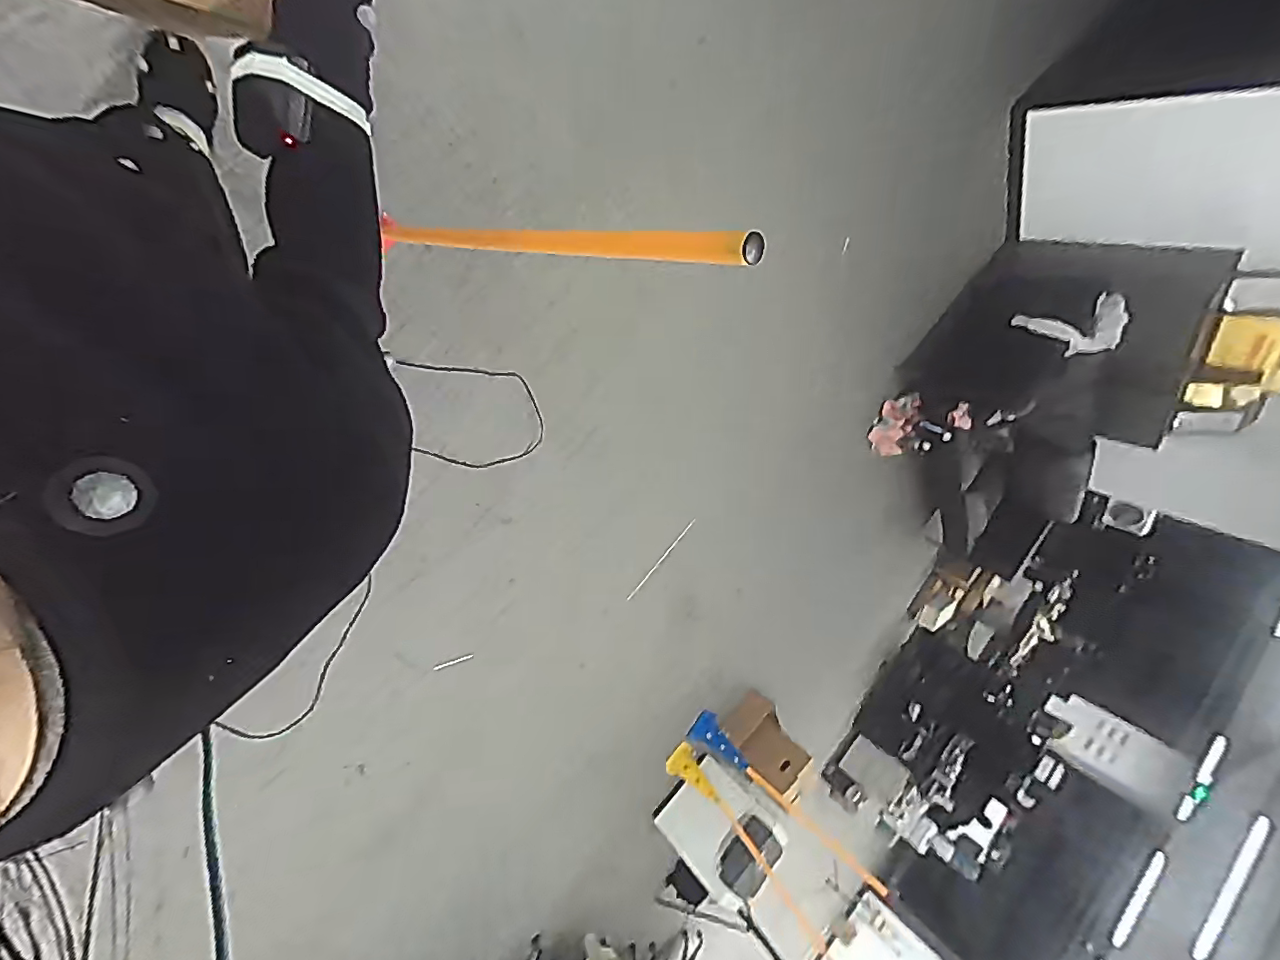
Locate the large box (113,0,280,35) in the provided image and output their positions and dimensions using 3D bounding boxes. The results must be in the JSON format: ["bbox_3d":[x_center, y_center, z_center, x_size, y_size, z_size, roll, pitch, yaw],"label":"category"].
[{"bbox_3d":[-0.488,-0.529,0.312,0.408,0.320,0.320,-13,127,-47],"label":"large box"}]
